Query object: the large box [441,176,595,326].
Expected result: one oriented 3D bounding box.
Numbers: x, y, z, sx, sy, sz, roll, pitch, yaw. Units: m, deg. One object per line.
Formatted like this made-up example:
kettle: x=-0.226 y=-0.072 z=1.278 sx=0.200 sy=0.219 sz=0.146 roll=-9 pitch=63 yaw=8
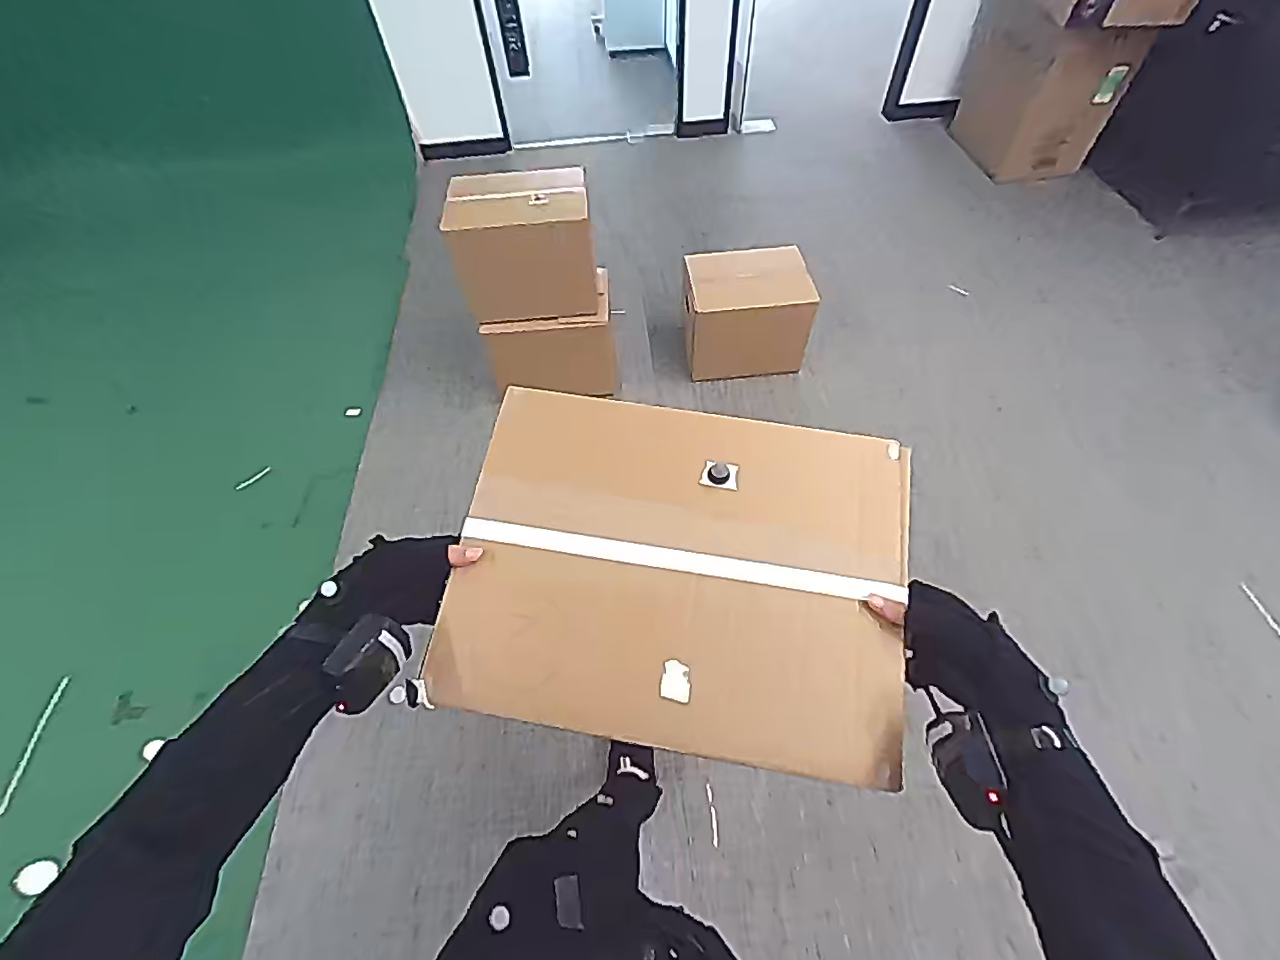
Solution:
large box: x=-0.355 y=-0.704 z=1.670 sx=0.408 sy=0.320 sz=0.320 roll=-4 pitch=52 yaw=-2
